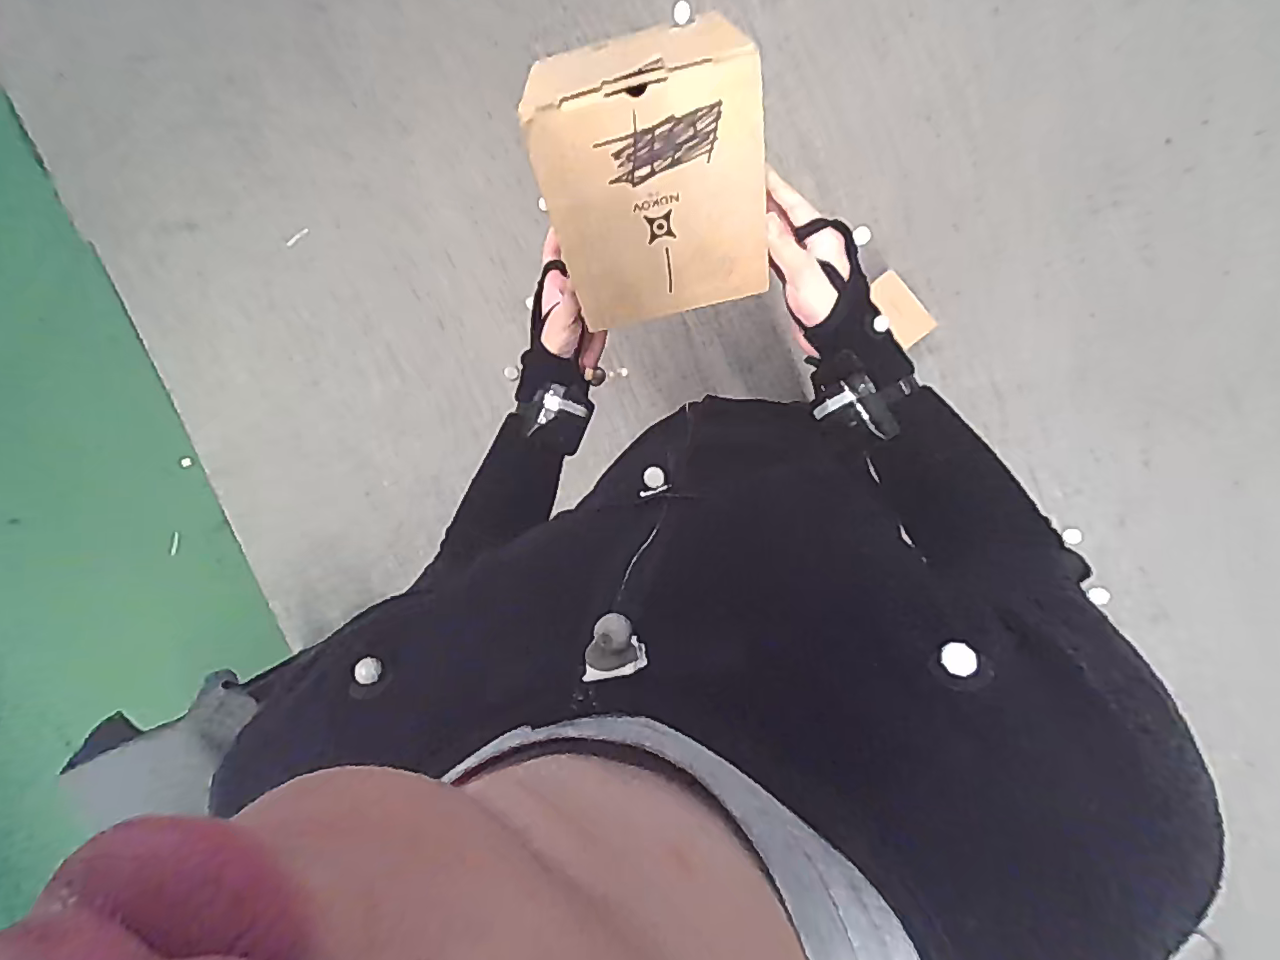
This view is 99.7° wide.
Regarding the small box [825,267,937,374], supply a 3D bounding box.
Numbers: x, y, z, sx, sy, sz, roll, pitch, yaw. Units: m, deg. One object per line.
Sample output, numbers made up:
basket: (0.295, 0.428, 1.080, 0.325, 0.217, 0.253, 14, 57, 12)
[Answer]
small box: (0.561, -0.368, 1.283, 0.179, 0.176, 0.168, -38, 89, 19)
